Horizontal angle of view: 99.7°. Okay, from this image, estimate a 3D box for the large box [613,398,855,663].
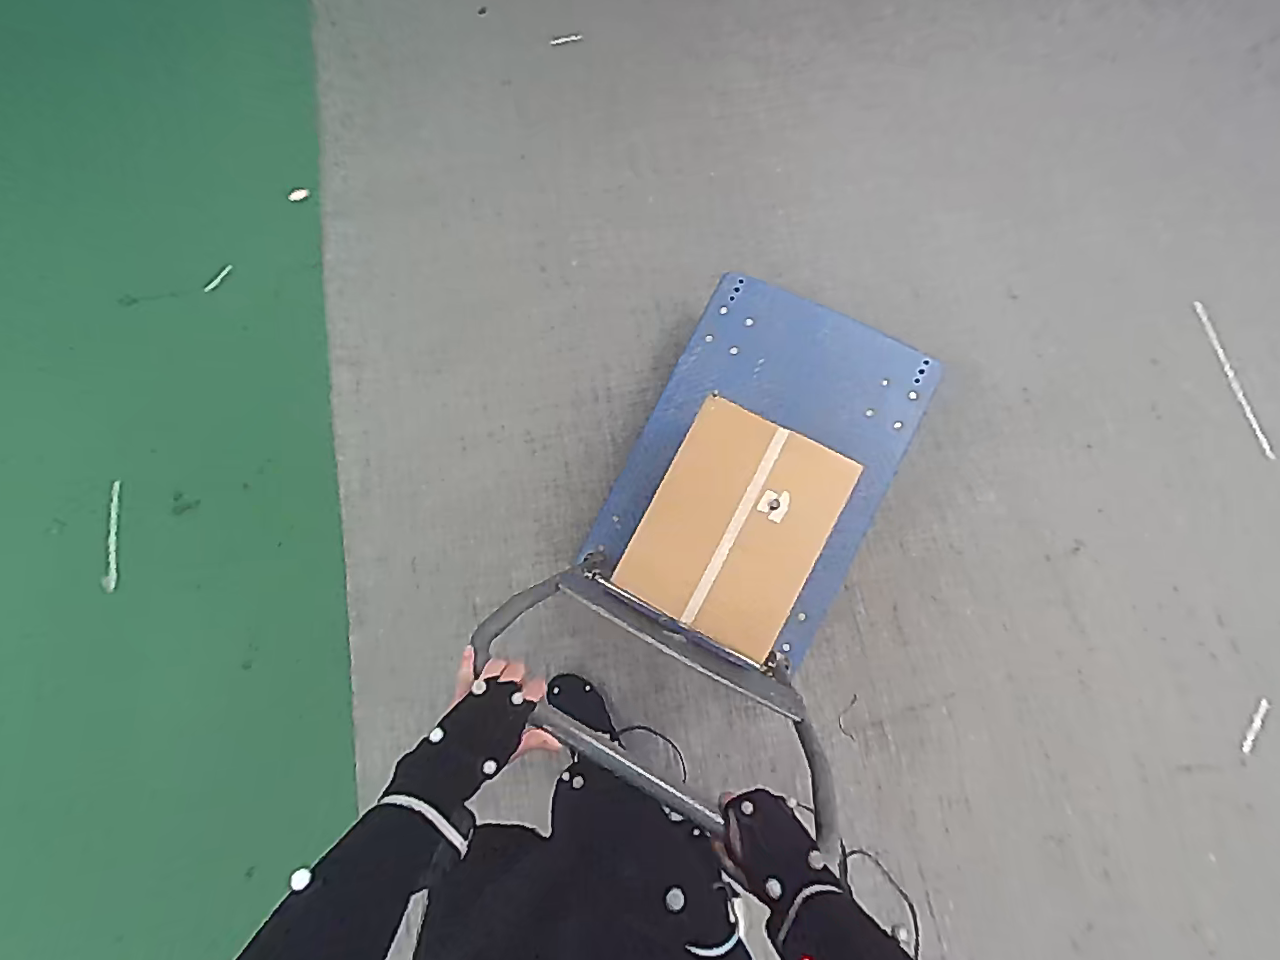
[{"bbox_3d":[0.188,0.105,1.136,0.320,0.320,0.408,27,87,9],"label":"large box"}]
